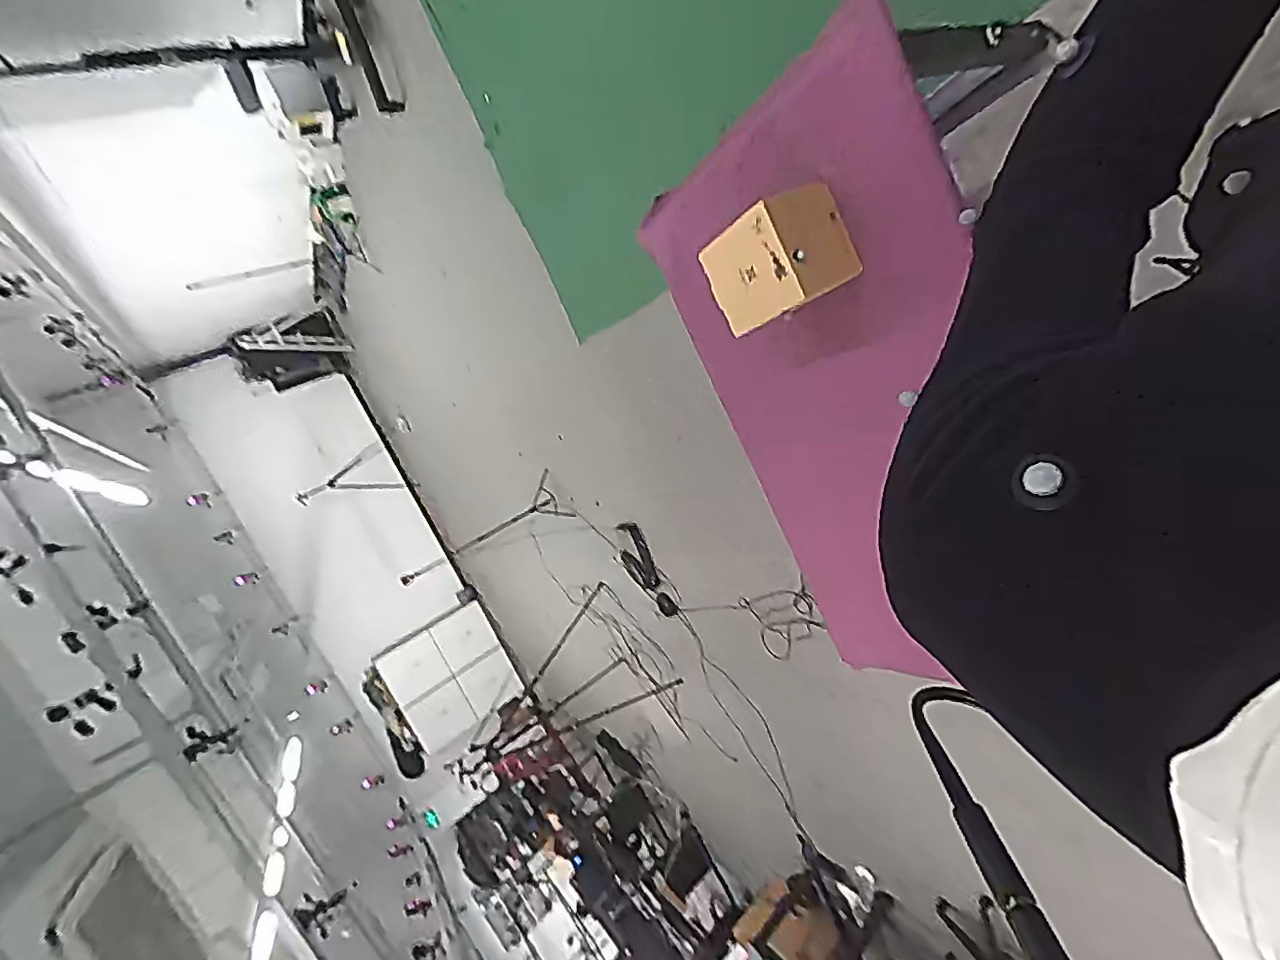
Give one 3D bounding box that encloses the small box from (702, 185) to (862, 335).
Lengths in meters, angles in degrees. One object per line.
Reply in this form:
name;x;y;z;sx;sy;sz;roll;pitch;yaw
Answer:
small box;0.248;-0.382;0.949;0.179;0.176;0.168;-15;104;61
